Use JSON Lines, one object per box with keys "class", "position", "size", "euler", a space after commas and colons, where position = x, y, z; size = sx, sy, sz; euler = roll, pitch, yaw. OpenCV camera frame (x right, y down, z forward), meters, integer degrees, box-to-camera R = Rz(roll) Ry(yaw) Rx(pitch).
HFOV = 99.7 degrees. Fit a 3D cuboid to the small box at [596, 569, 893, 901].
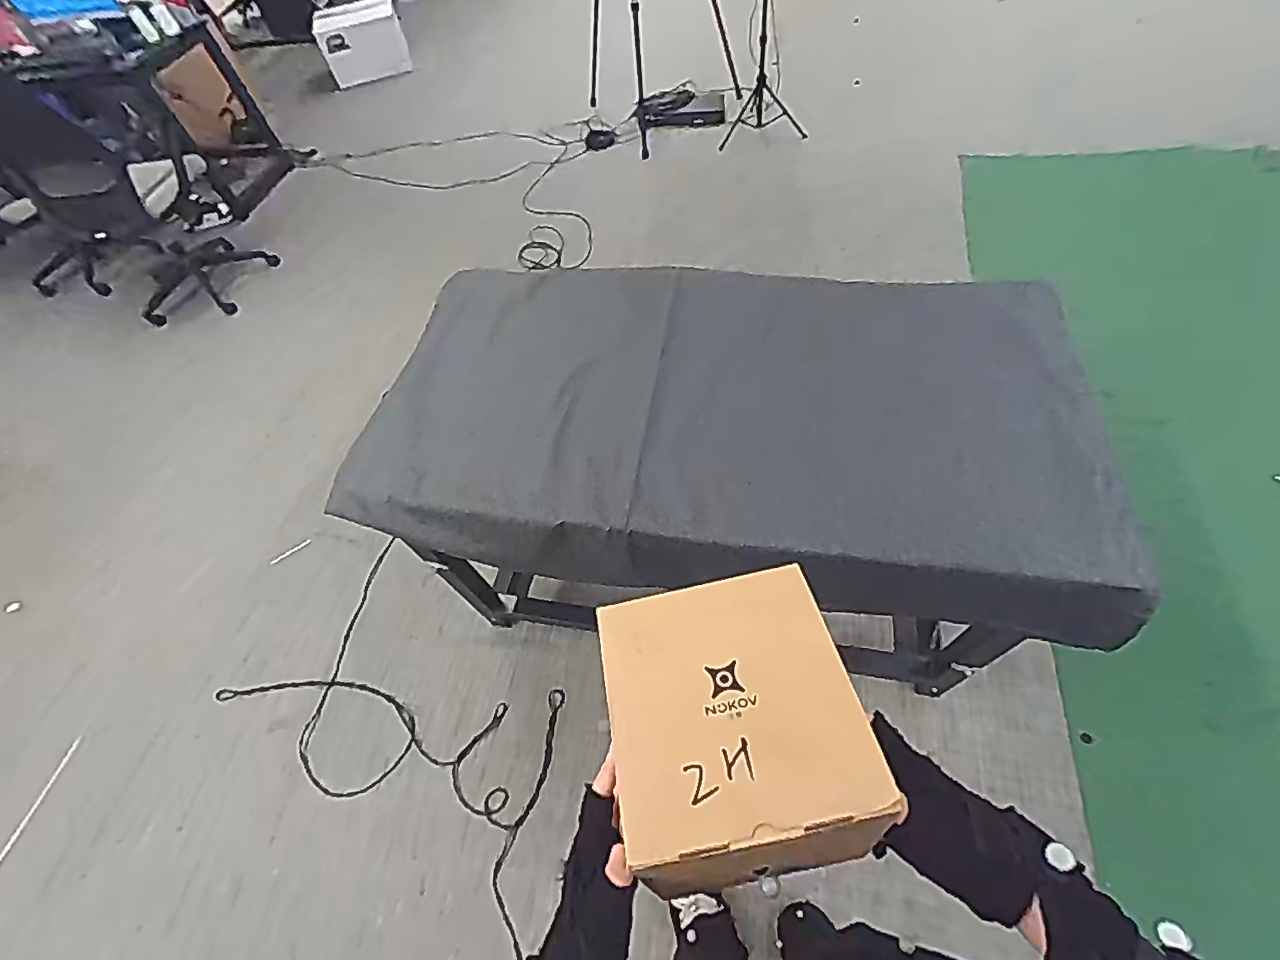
{"class": "small box", "position": [0.067, 0.200, 0.424], "size": [0.168, 0.176, 0.179], "euler": [-13, 47, 1]}
